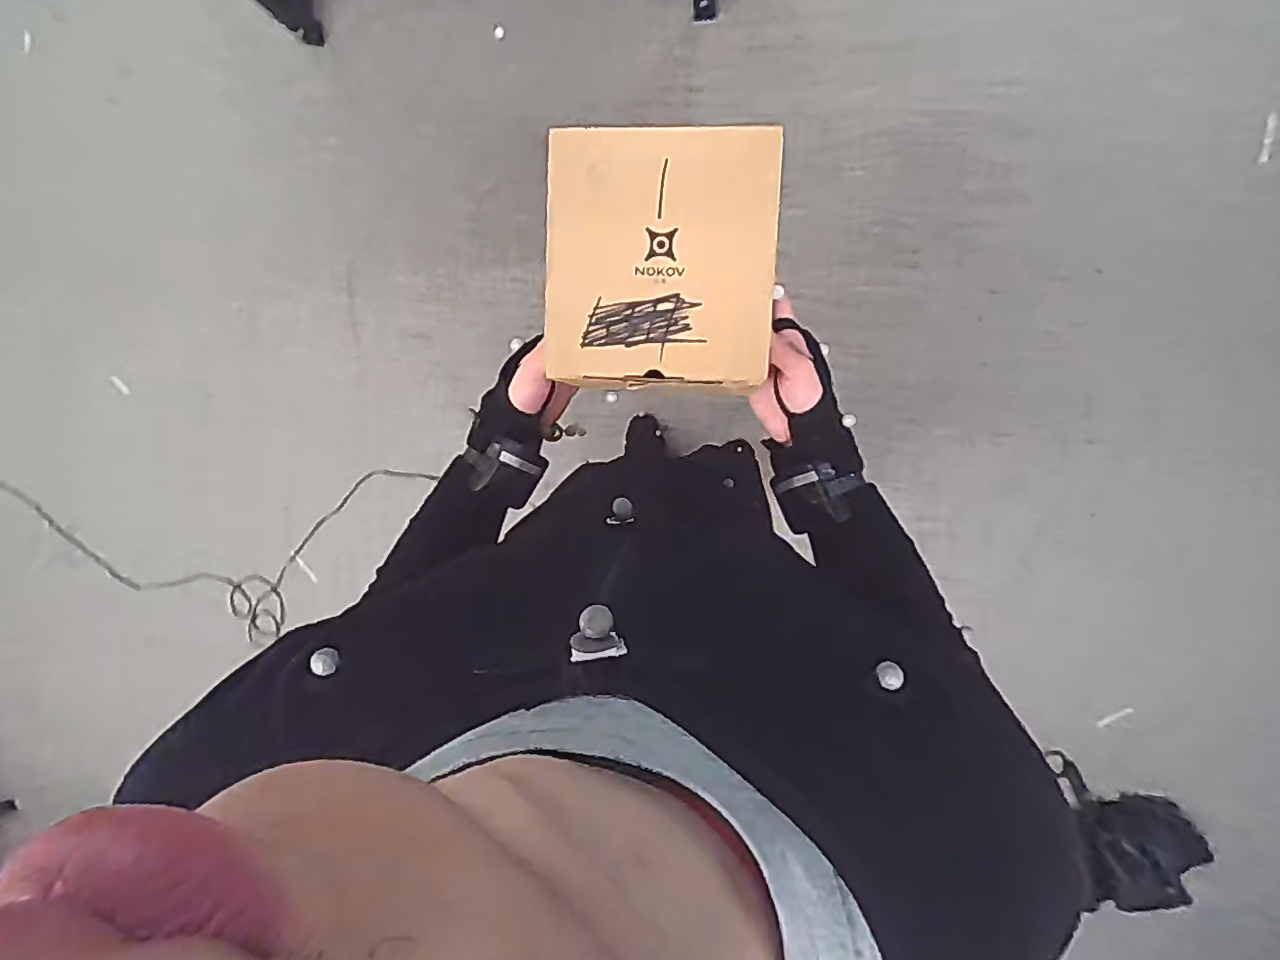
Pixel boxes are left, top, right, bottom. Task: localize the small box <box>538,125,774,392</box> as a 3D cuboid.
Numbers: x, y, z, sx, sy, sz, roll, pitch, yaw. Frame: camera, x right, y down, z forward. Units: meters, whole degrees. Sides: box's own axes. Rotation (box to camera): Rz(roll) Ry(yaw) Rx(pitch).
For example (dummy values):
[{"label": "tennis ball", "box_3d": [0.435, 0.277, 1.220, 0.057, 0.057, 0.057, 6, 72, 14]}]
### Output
[{"label": "small box", "box_3d": [0.017, -0.168, 0.465, 0.168, 0.176, 0.179, 2, 96, 6]}]
